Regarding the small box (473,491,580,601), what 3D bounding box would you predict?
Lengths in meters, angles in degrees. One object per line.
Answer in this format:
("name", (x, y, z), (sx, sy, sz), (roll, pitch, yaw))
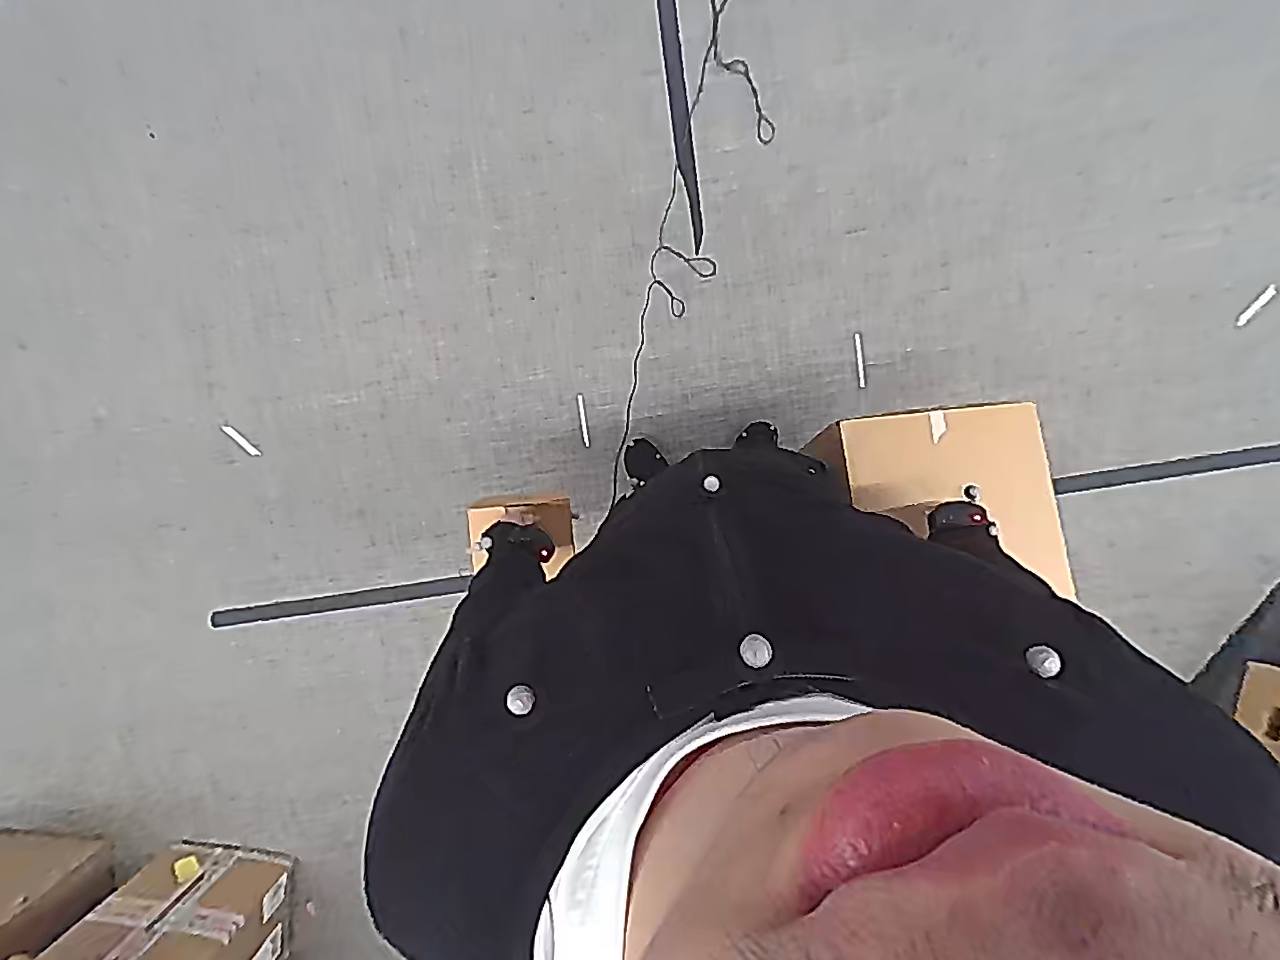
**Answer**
("small box", (-0.197, 0.118, 0.981), (0.168, 0.179, 0.176), (-4, 94, -7))
